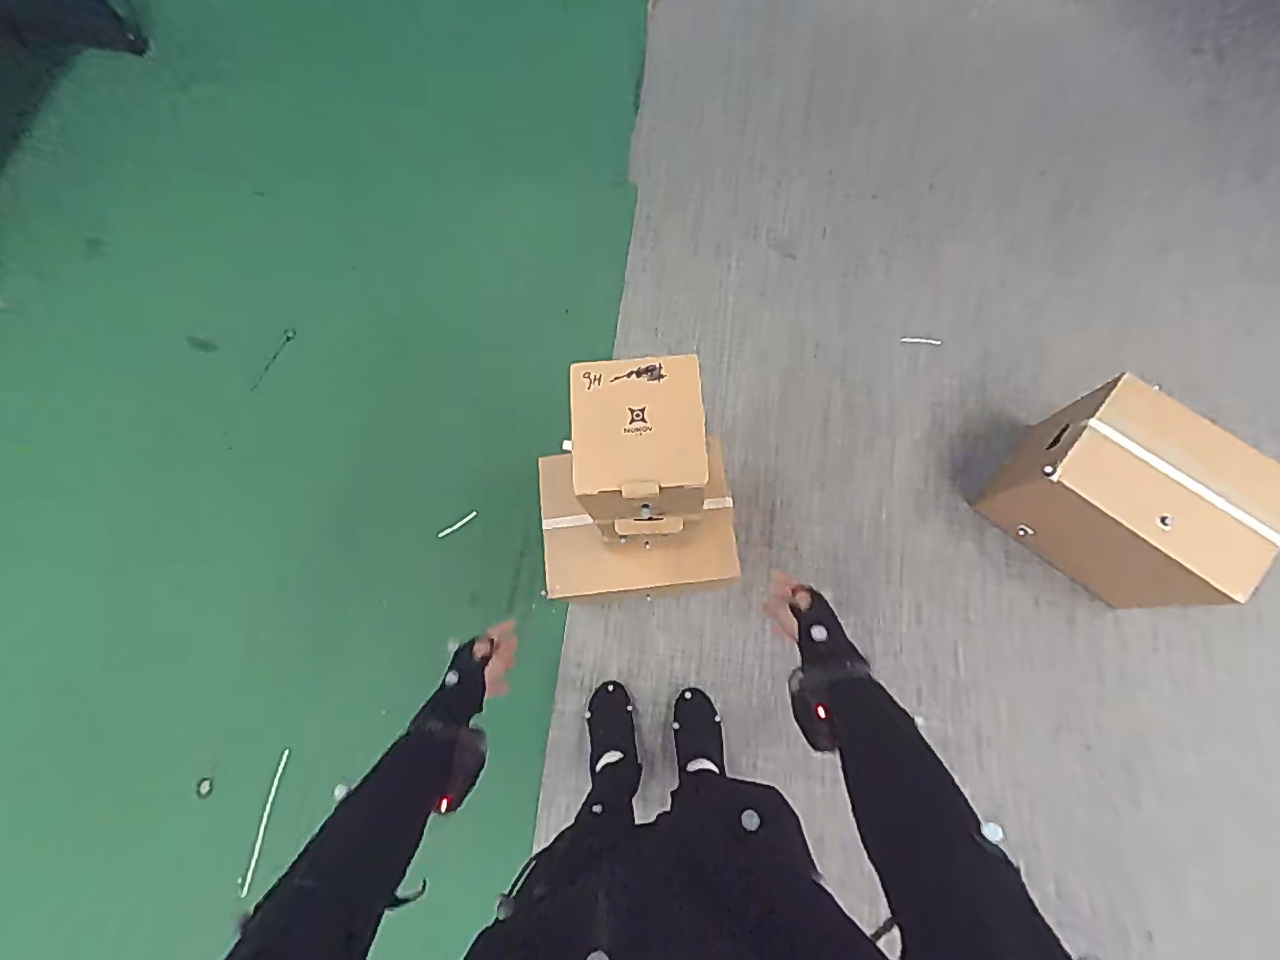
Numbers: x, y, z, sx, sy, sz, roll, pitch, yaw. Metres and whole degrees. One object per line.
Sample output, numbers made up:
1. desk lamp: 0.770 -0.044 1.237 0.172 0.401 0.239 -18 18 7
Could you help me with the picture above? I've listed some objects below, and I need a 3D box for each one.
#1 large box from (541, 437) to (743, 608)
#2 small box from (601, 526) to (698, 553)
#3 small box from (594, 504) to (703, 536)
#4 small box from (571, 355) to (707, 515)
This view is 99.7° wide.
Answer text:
1. large box: 0.009 0.120 1.290 0.408 0.320 0.320 -8 72 3
2. small box: 0.019 0.048 1.055 0.179 0.176 0.168 -4 75 3
3. small box: 0.018 -0.002 0.899 0.168 0.176 0.179 -2 74 3
4. small box: 0.002 -0.050 0.742 0.168 0.176 0.179 -4 76 3
